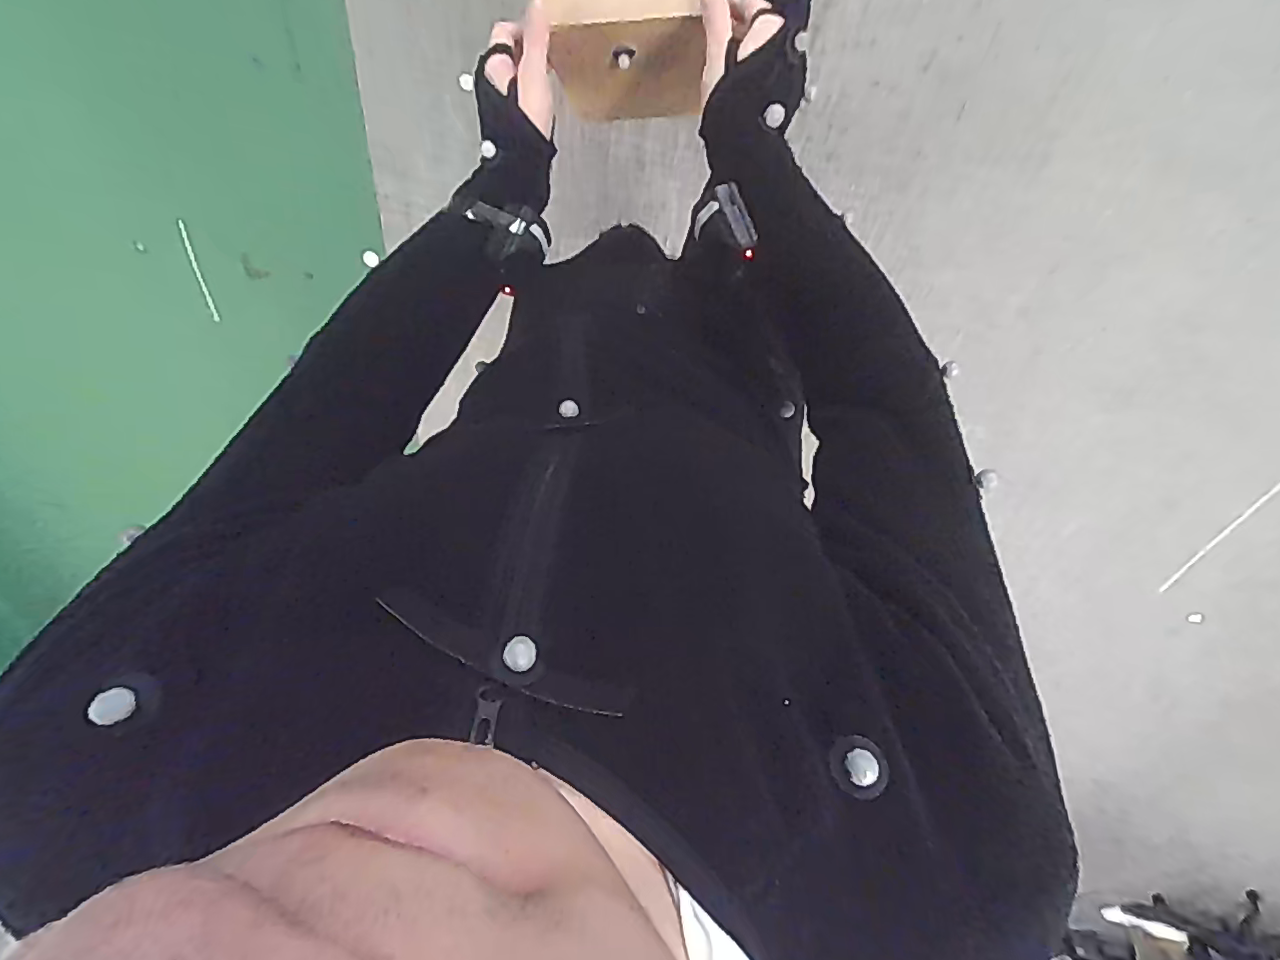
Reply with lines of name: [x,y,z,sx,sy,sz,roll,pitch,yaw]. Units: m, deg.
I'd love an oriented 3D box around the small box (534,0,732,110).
small box: [0.003,-0.500,0.538,0.179,0.176,0.168,0,100,8]
